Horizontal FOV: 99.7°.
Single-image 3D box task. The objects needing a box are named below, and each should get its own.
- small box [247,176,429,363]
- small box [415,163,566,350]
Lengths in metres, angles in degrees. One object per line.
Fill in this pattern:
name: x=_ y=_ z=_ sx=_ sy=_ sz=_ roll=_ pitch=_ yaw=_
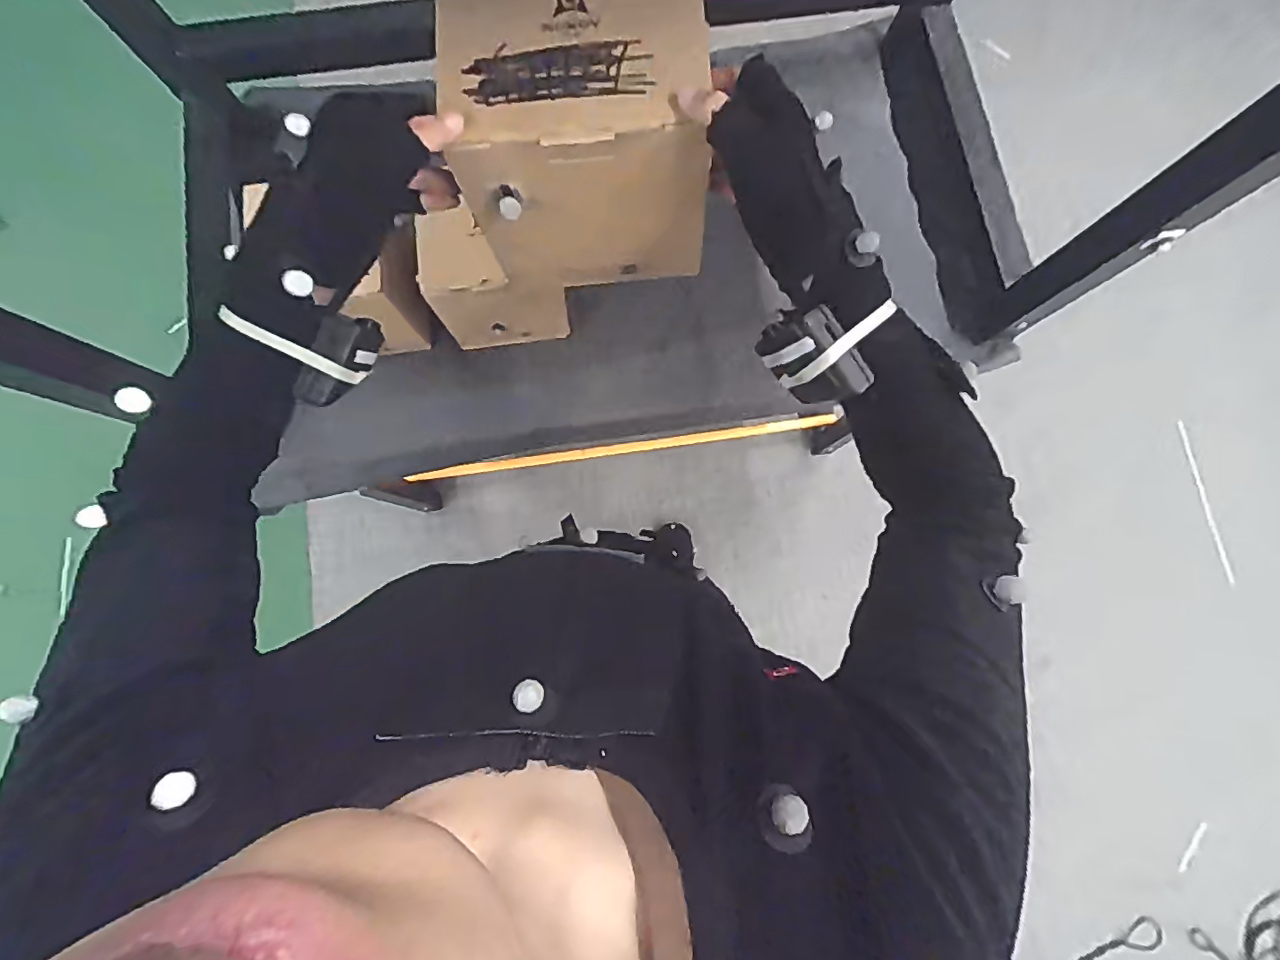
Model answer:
small box: x=-0.409 y=-0.284 z=0.756 sx=0.168 sy=0.176 sz=0.179 roll=-8 pitch=80 yaw=-3
small box: x=-0.202 y=-0.306 z=0.766 sx=0.168 sy=0.176 sz=0.179 roll=-8 pitch=80 yaw=-2
